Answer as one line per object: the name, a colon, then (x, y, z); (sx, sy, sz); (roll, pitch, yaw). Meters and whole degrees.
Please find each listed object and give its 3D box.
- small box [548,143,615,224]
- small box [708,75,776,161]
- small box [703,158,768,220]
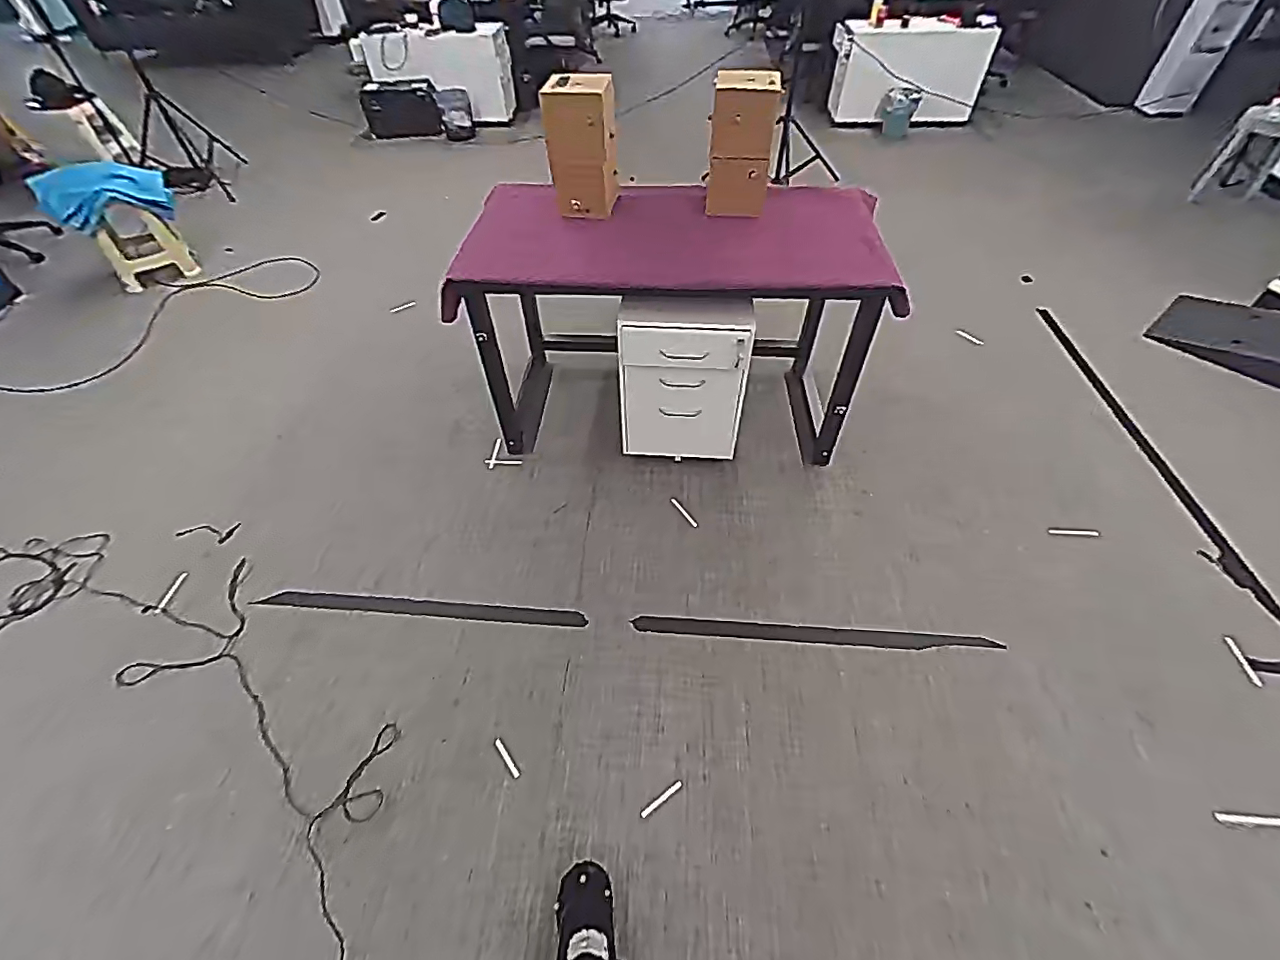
small box: (-0.174, -0.920, 1.676); (0.168, 0.176, 0.179); (5, 52, 8)
small box: (0.286, -1.027, 1.537); (0.179, 0.176, 0.168); (5, 51, 7)
small box: (0.291, -0.919, 1.661); (0.179, 0.176, 0.168); (4, 50, 6)
